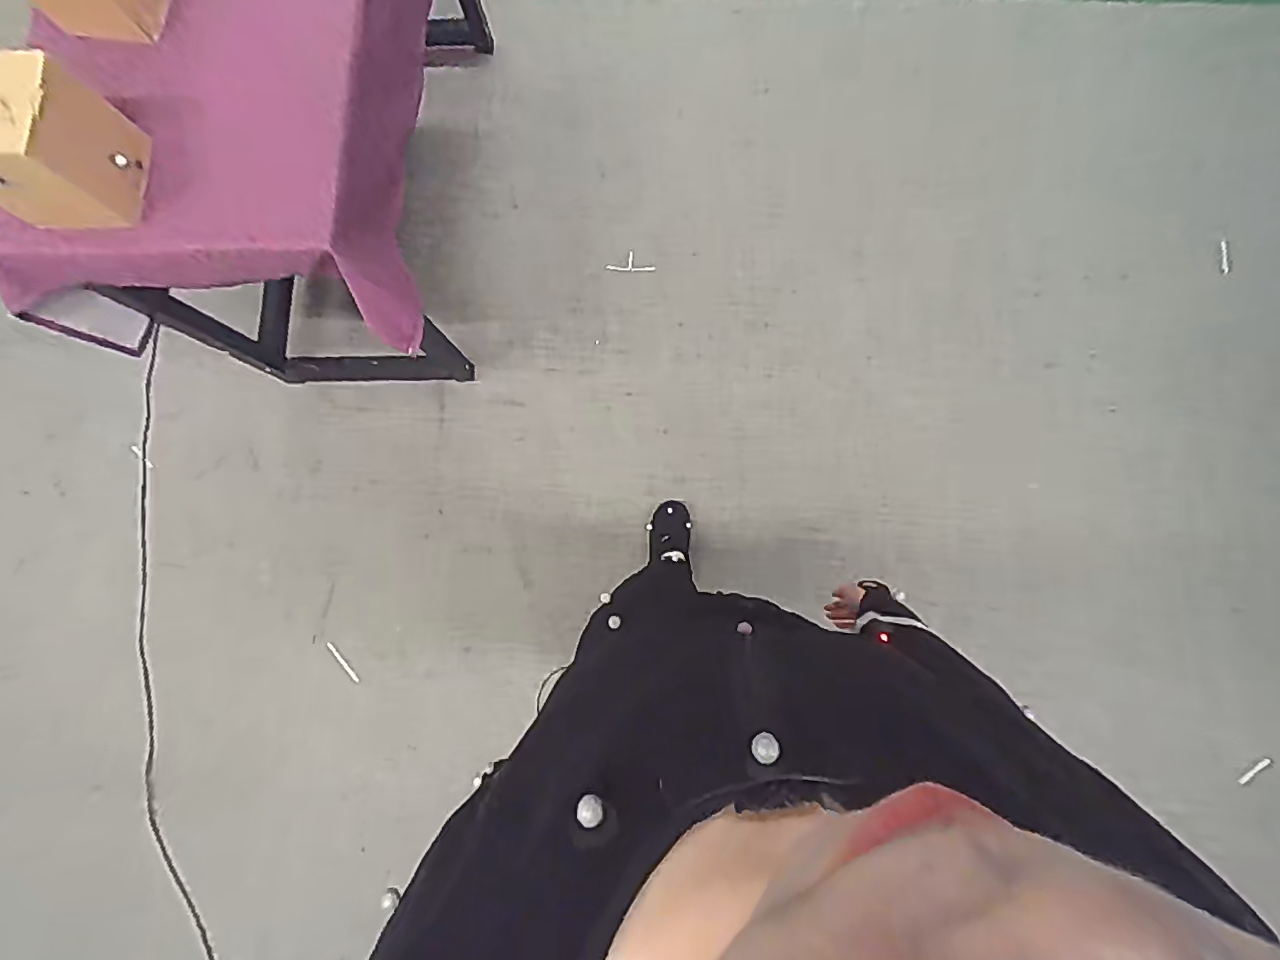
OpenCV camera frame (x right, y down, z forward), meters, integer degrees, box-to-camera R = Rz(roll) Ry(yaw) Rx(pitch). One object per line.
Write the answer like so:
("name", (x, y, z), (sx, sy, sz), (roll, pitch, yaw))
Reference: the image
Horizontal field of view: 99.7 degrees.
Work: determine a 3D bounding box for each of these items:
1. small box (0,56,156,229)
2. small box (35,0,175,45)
("small box", (-0.924, -0.514, 0.843), (0.179, 0.176, 0.168), (1, 81, 2))
("small box", (-0.935, -0.877, 0.904), (0.179, 0.176, 0.168), (8, 82, 2))
